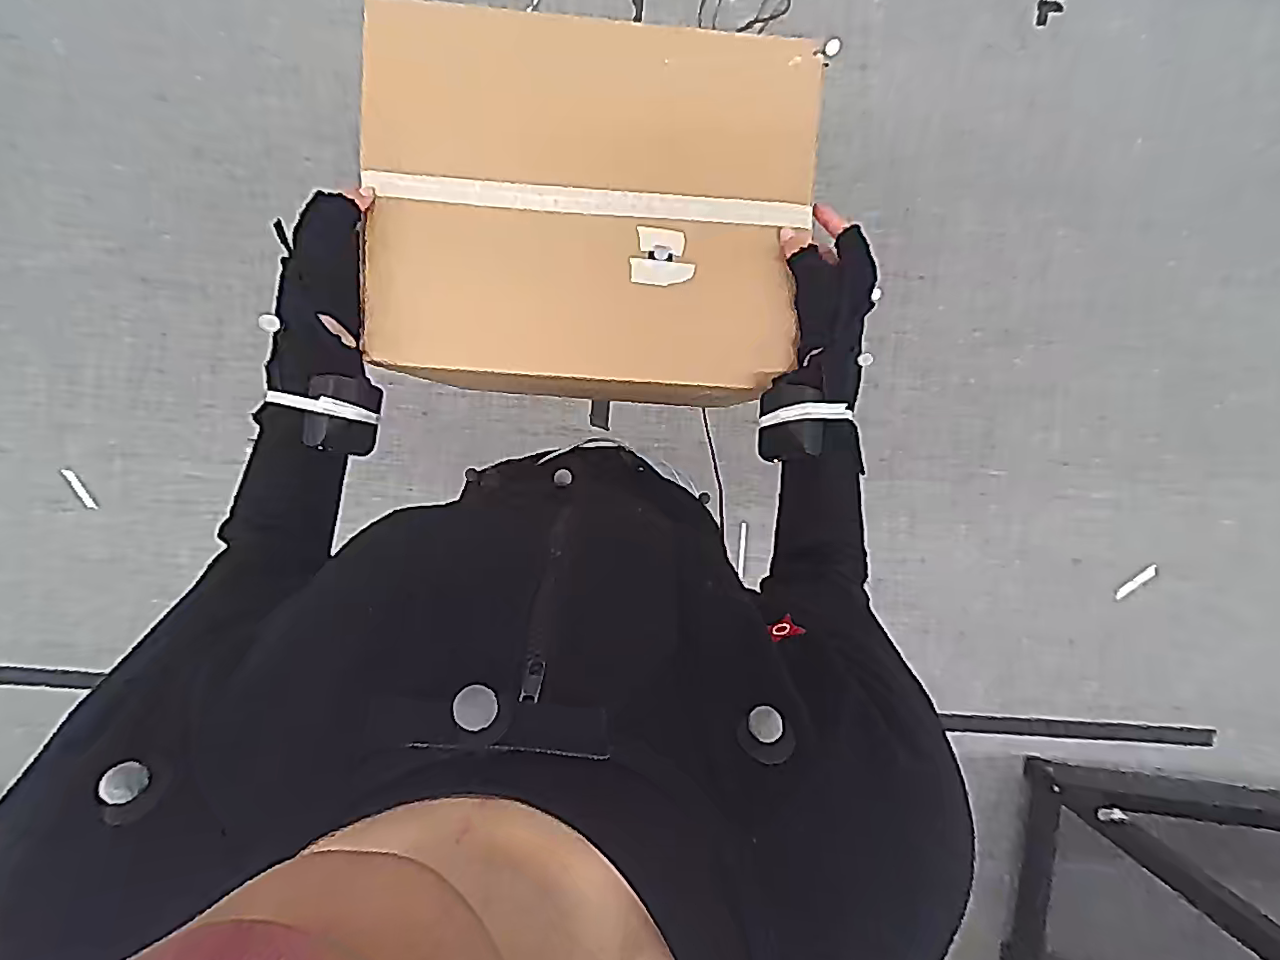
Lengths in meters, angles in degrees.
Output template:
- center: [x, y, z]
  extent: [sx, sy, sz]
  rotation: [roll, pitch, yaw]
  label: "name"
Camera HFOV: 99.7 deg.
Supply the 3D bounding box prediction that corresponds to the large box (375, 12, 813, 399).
- center: [-0.053, -0.271, 0.653]
  extent: [0.408, 0.320, 0.320]
  rotation: [3, 96, -3]
  label: "large box"
